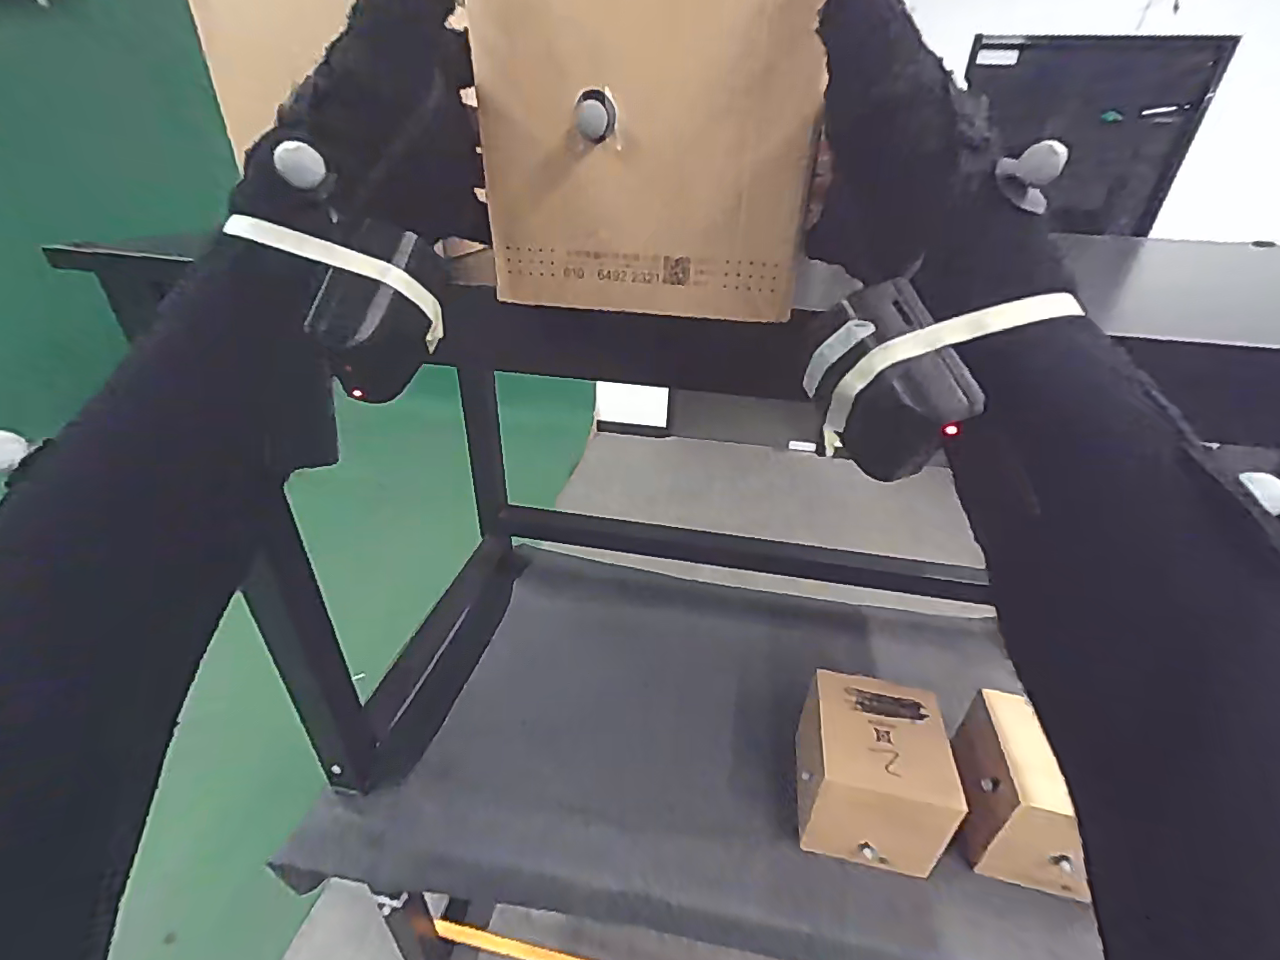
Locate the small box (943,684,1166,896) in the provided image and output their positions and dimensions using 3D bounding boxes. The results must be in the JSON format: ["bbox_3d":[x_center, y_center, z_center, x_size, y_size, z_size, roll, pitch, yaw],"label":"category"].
[{"bbox_3d":[0.541,0.420,0.740,0.168,0.176,0.179,9,31,11],"label":"small box"}]

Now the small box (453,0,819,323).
[{"bbox_3d":[0.011,-0.203,0.332,0.168,0.176,0.179,7,32,8],"label":"small box"}]

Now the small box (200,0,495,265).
[{"bbox_3d":[-0.212,-0.293,0.463,0.168,0.176,0.179,8,32,9],"label":"small box"}]
